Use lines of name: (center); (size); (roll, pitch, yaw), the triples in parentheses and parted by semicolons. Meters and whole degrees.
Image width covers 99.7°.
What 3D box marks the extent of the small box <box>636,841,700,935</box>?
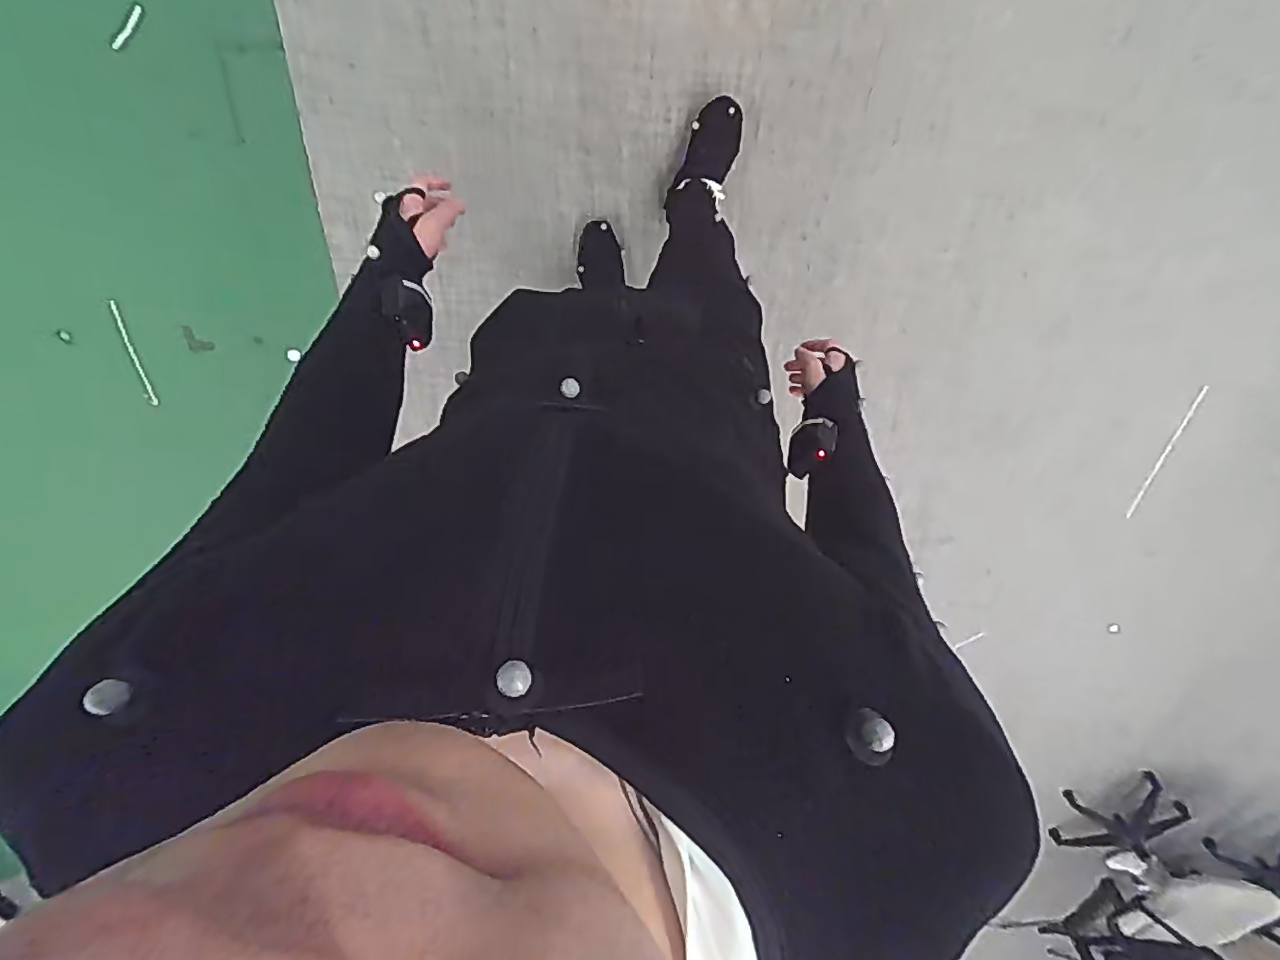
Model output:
small box: (0.074, 1.151, 1.530); (0.168, 0.176, 0.179); (2, 123, 1)
